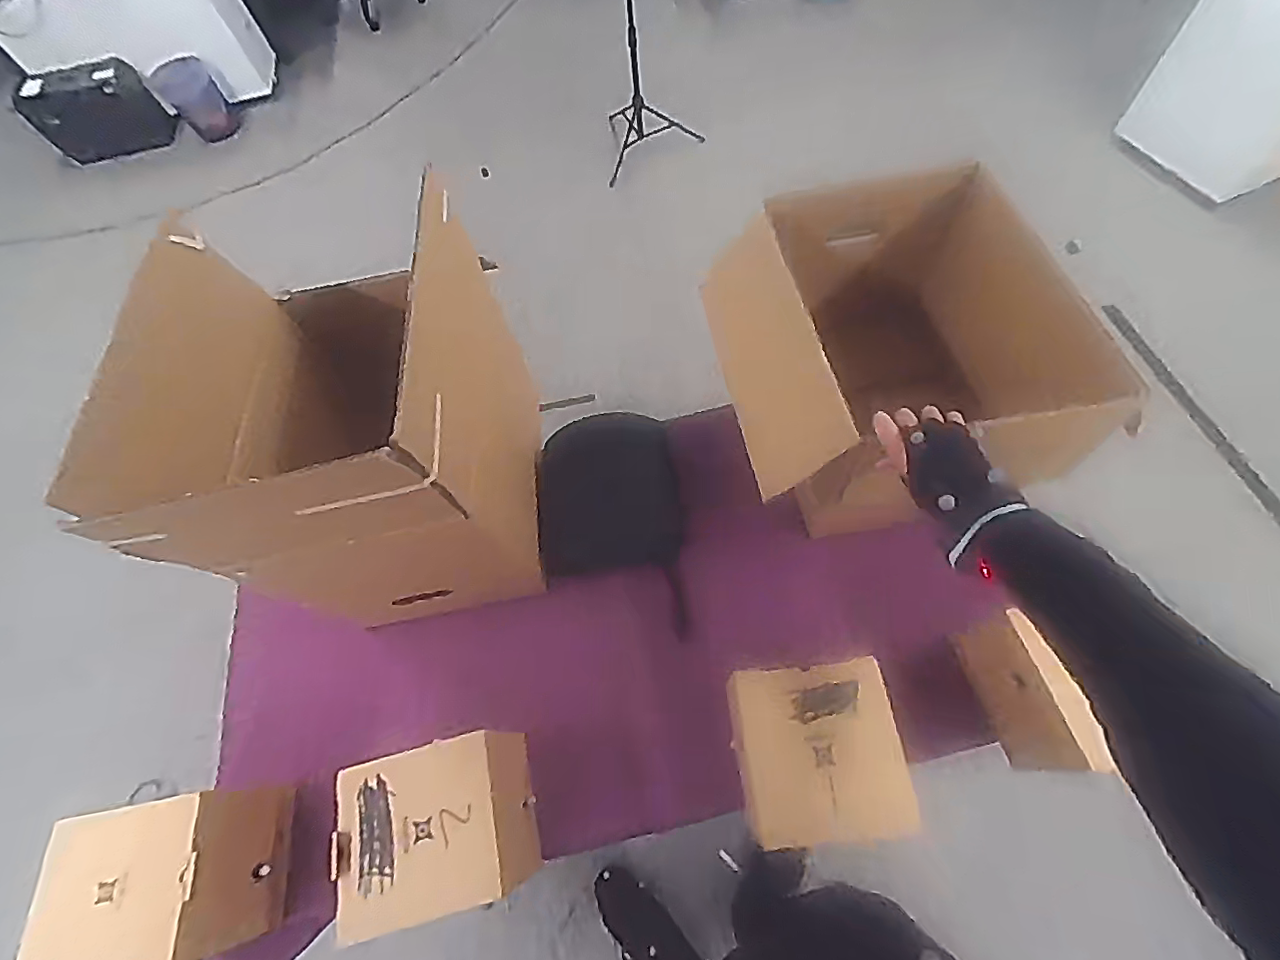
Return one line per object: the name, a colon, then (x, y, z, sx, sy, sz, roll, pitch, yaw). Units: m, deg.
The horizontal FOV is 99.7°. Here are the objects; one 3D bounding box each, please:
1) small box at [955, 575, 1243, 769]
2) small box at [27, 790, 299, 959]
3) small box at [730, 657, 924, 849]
small box: (0.528, 0.240, 0.660, 0.168, 0.176, 0.179, -15, 63, 0)
small box: (-0.561, 0.489, 0.659, 0.179, 0.176, 0.168, -11, 63, -1)
small box: (0.206, 0.325, 0.656, 0.168, 0.176, 0.179, -8, 64, 3)
